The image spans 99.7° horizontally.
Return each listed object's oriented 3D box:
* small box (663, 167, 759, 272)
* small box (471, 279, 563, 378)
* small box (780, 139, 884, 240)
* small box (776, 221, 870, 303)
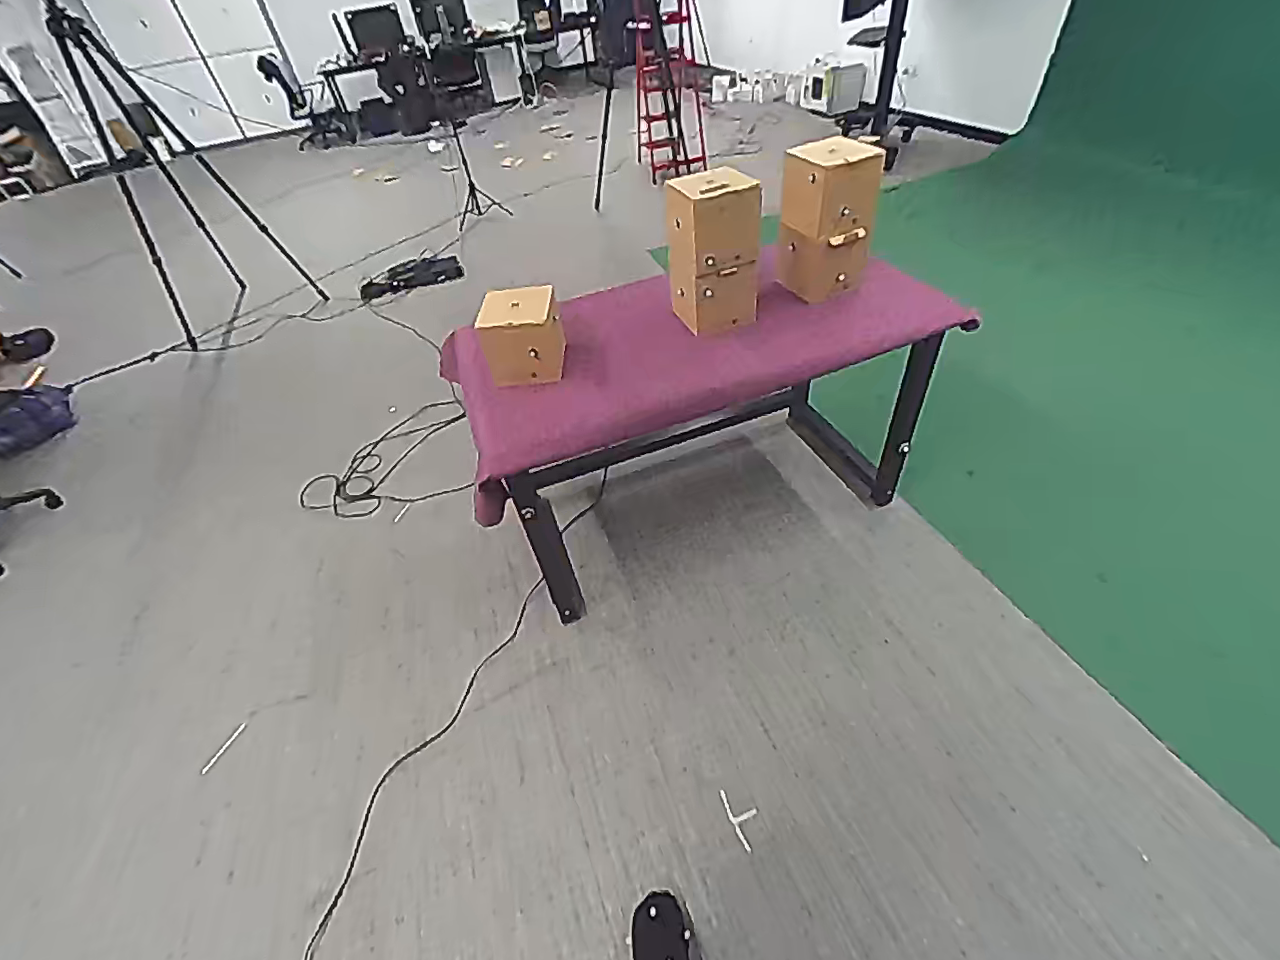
[{"bbox_3d":[0.166,-0.607,1.270,0.168,0.176,0.179,-19,44,-10],"label":"small box"},{"bbox_3d":[-0.286,-0.359,1.303,0.168,0.176,0.179,-5,45,3],"label":"small box"},{"bbox_3d":[0.463,-0.719,1.338,0.168,0.176,0.179,-21,47,-12],"label":"small box"},{"bbox_3d":[0.479,-0.601,1.450,0.168,0.176,0.179,-22,47,-11],"label":"small box"}]
